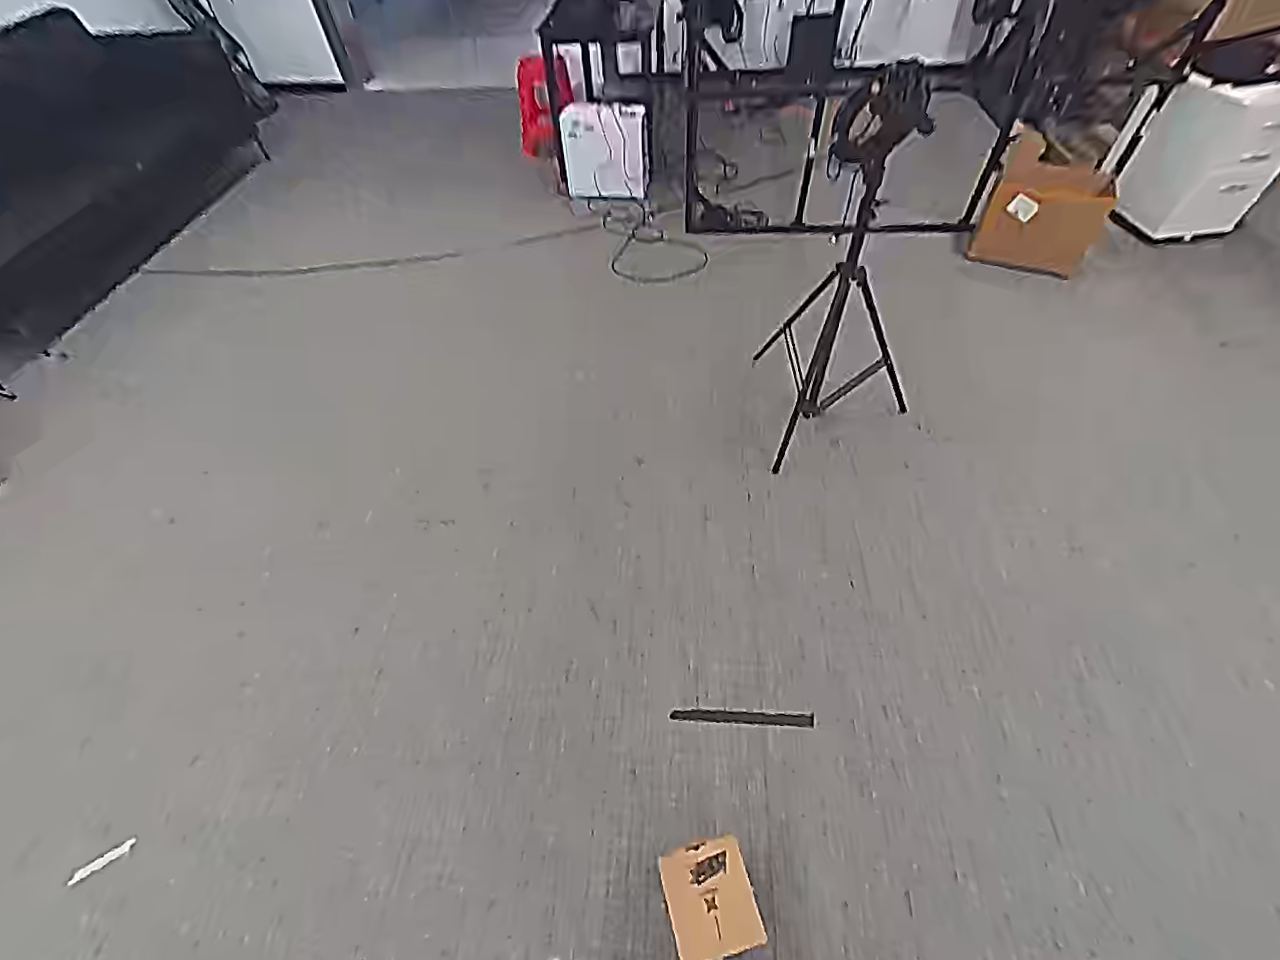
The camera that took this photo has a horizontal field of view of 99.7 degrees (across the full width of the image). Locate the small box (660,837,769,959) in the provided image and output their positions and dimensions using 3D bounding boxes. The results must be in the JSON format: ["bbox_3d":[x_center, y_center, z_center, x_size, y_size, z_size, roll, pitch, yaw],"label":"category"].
[{"bbox_3d":[0.139,0.847,1.084,0.168,0.176,0.179,-13,53,-7],"label":"small box"}]
